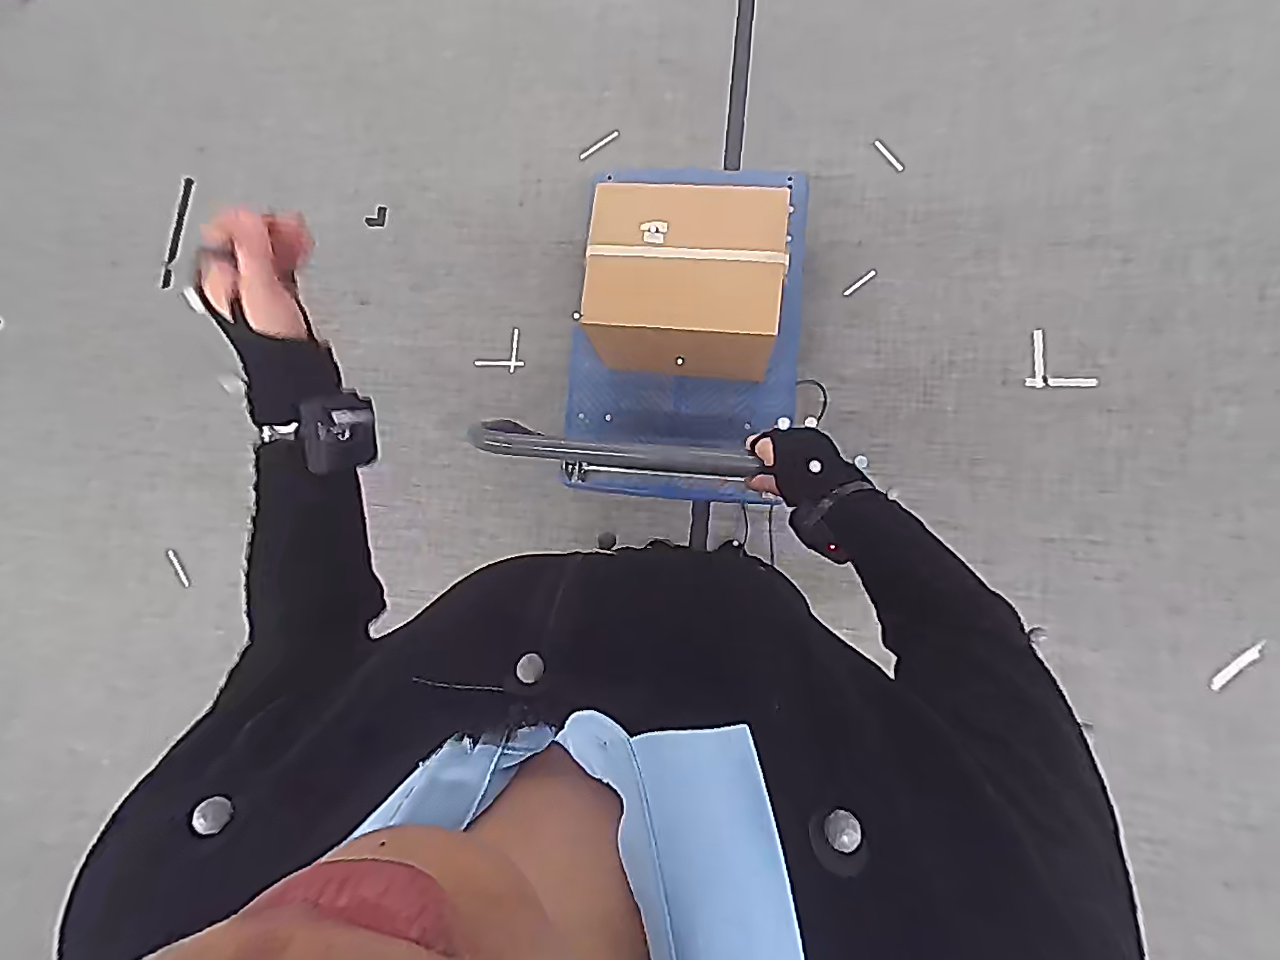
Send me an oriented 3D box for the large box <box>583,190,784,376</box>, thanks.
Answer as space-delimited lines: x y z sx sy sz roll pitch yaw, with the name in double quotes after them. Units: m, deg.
0.111 -0.440 1.266 0.408 0.320 0.320 5 83 9 "large box"
